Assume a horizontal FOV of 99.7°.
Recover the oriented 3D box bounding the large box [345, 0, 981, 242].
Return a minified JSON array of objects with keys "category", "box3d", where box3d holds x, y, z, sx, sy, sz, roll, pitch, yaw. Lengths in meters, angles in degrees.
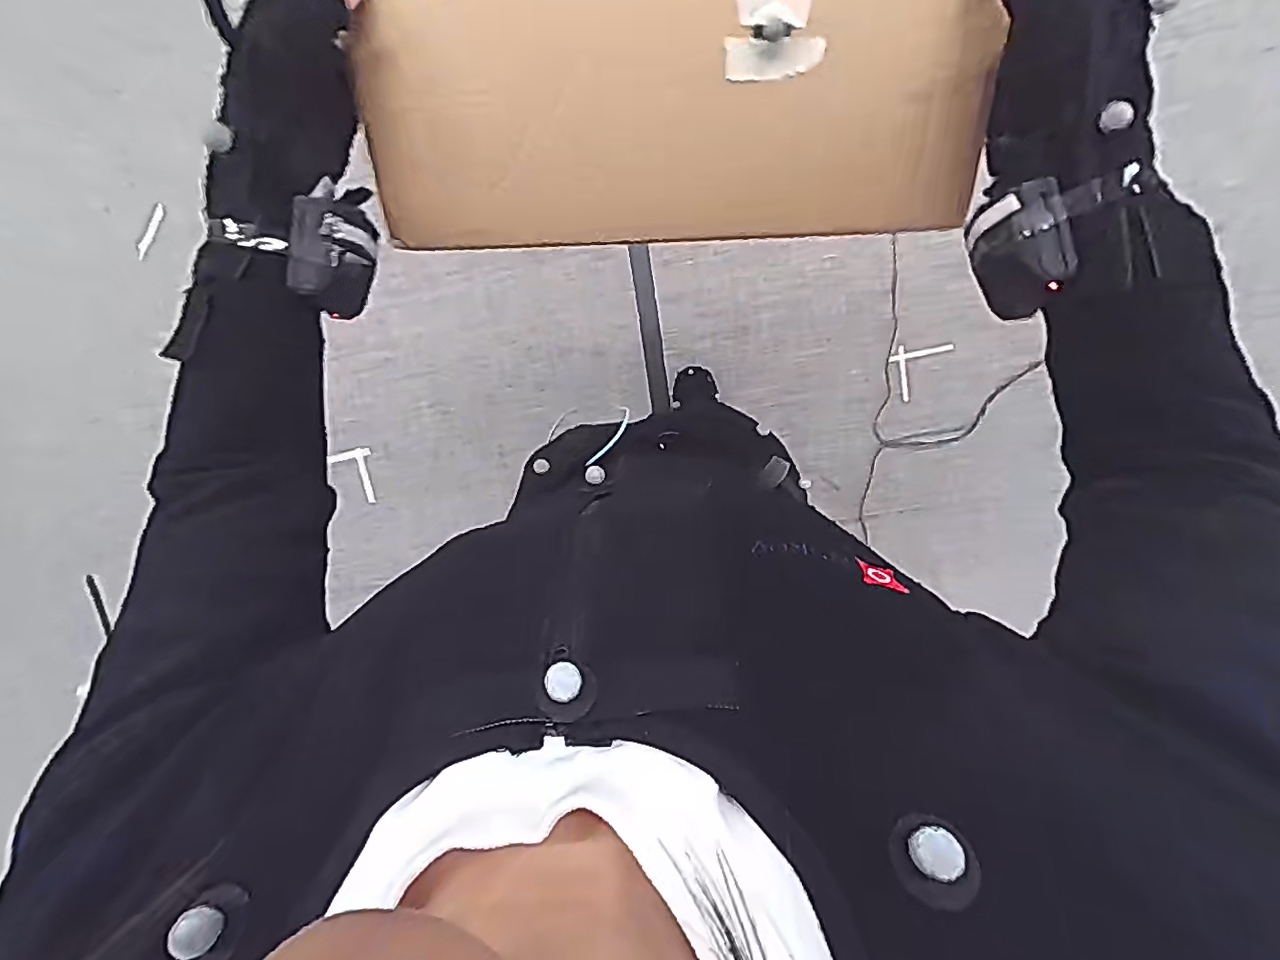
[{"category":"large box","box3d":[0.015,-0.389,0.458,0.408,0.320,0.320,-2,116,4]}]
